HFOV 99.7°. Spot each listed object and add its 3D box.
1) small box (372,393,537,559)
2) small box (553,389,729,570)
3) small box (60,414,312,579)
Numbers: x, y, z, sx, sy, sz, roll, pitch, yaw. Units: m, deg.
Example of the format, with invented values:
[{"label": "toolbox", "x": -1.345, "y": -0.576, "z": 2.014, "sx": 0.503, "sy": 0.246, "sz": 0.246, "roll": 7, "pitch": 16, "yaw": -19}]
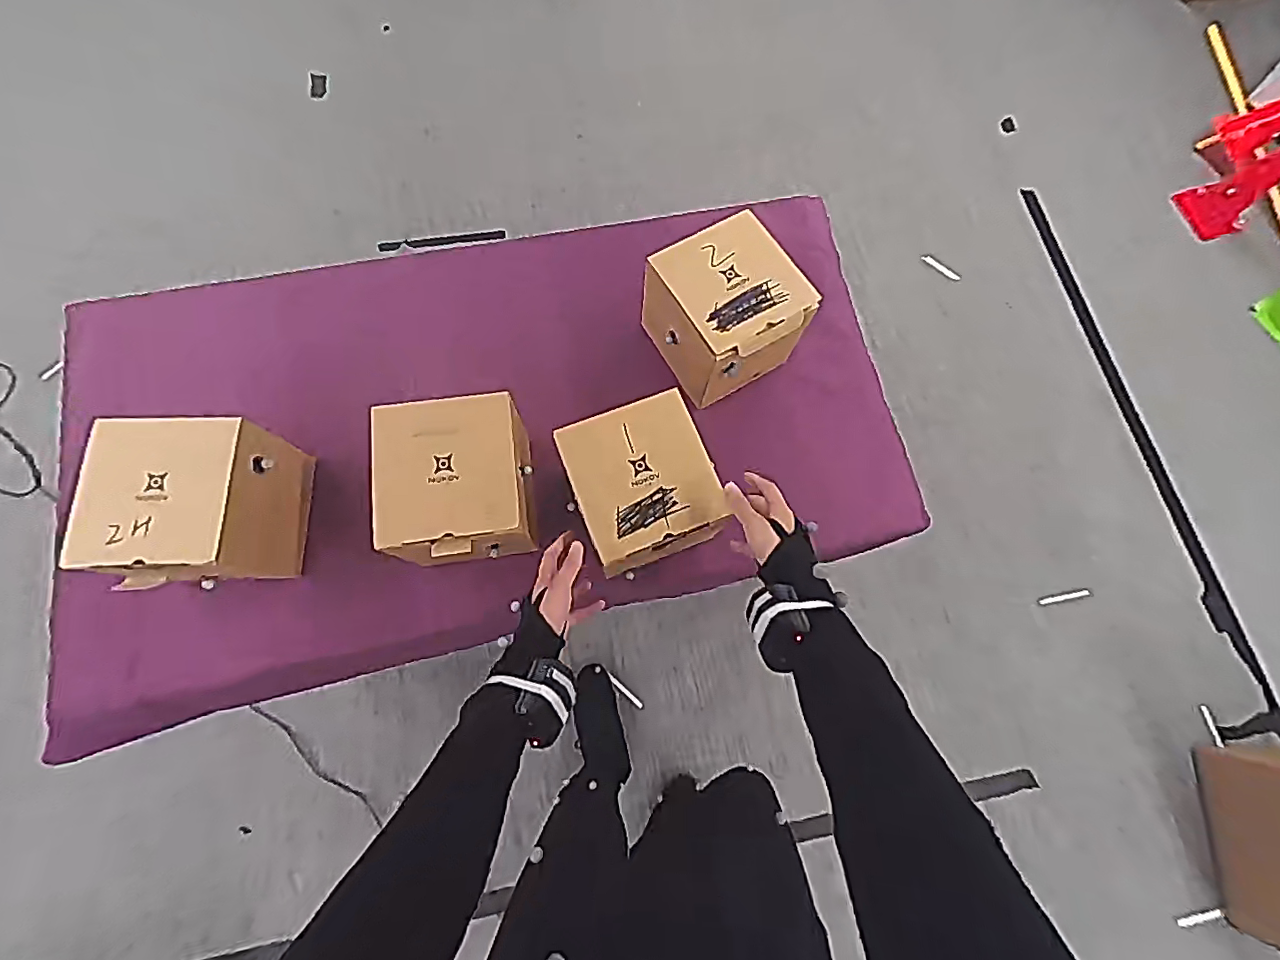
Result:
[{"label": "small box", "x": -0.232, "y": 0.006, "z": 0.707, "sx": 0.168, "sy": 0.176, "sz": 0.179, "roll": -7, "pitch": 75, "yaw": -5}, {"label": "small box", "x": -0.001, "y": 0.012, "z": 0.714, "sx": 0.168, "sy": 0.176, "sz": 0.179, "roll": -20, "pitch": 76, "yaw": -8}, {"label": "small box", "x": -0.547, "y": 0.029, "z": 0.683, "sx": 0.168, "sy": 0.176, "sz": 0.179, "roll": -1, "pitch": 76, "yaw": -3}]
